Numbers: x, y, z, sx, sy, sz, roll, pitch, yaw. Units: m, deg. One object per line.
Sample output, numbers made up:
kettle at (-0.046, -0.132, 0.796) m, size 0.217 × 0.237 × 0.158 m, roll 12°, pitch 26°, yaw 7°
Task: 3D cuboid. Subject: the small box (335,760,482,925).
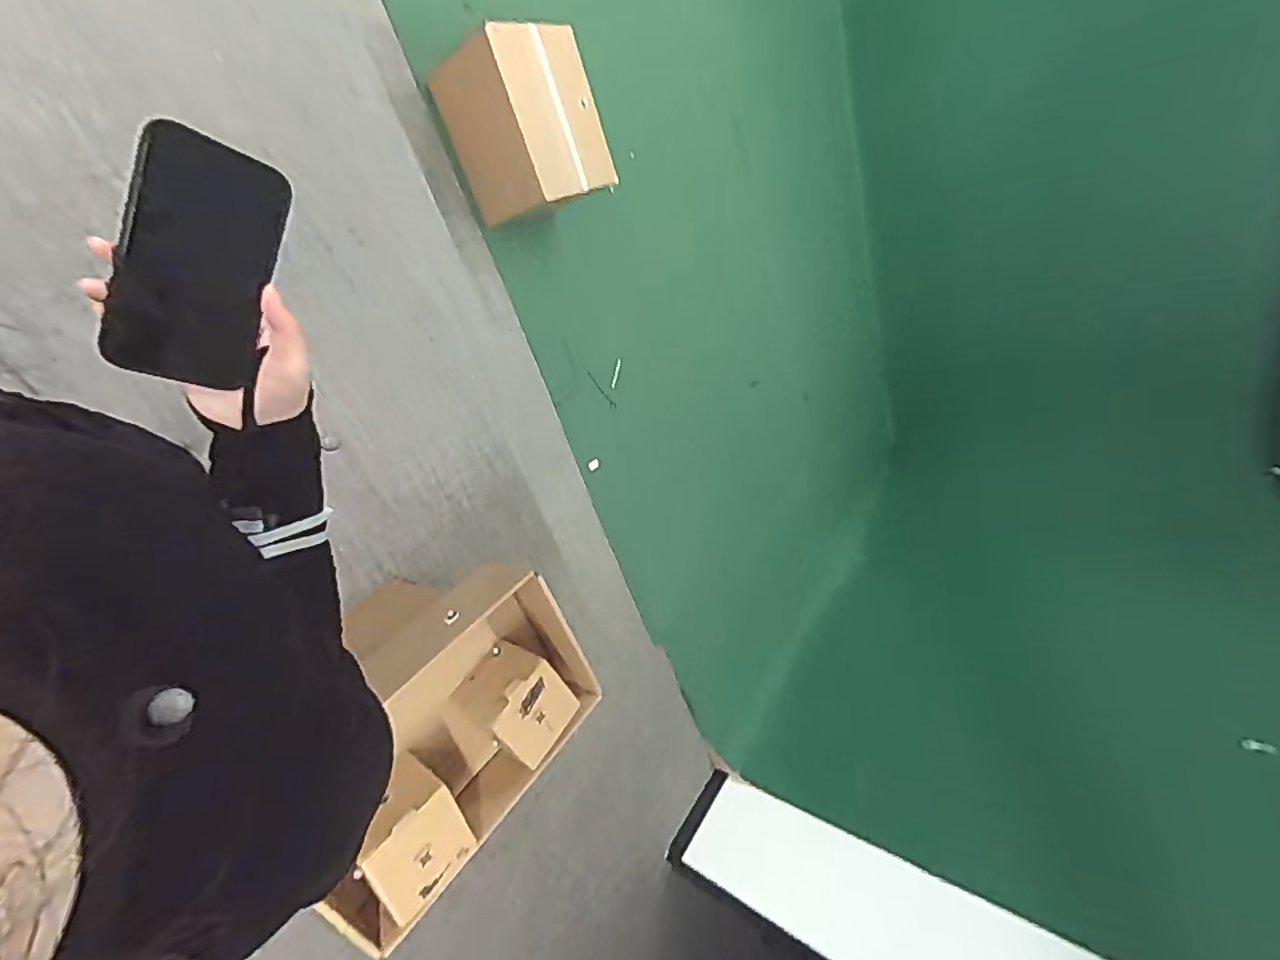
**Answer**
small box at (-0.436, 0.661, 1.015) m, size 0.168 × 0.176 × 0.179 m, roll -33°, pitch 115°, yaw -40°
